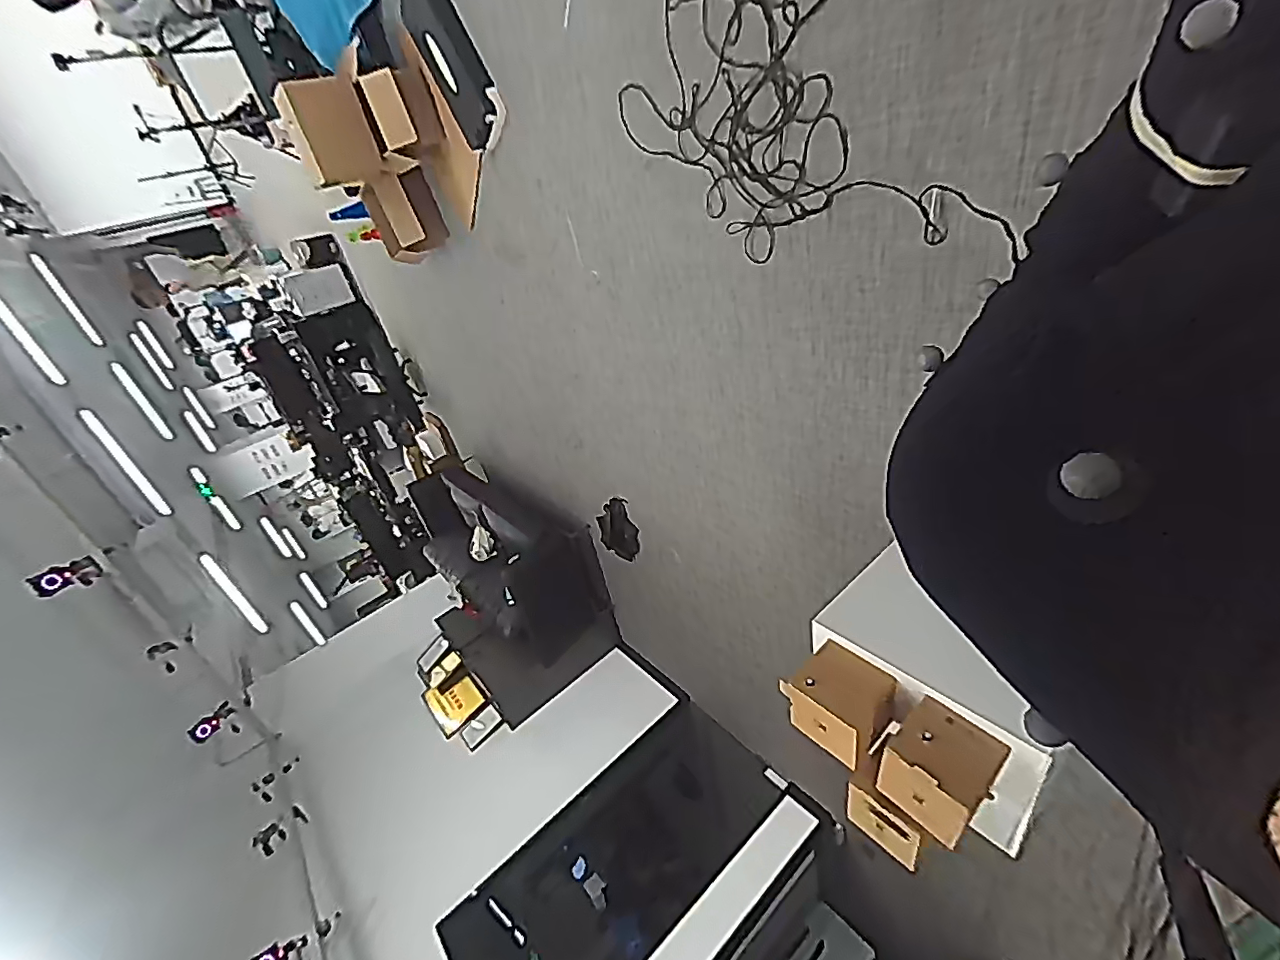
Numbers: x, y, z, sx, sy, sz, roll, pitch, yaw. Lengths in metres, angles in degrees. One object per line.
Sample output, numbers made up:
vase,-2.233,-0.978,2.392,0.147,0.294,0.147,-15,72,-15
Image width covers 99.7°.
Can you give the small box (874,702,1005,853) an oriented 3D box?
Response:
small box,0.603,0.592,1.093,0.168,0.176,0.179,32,144,44
